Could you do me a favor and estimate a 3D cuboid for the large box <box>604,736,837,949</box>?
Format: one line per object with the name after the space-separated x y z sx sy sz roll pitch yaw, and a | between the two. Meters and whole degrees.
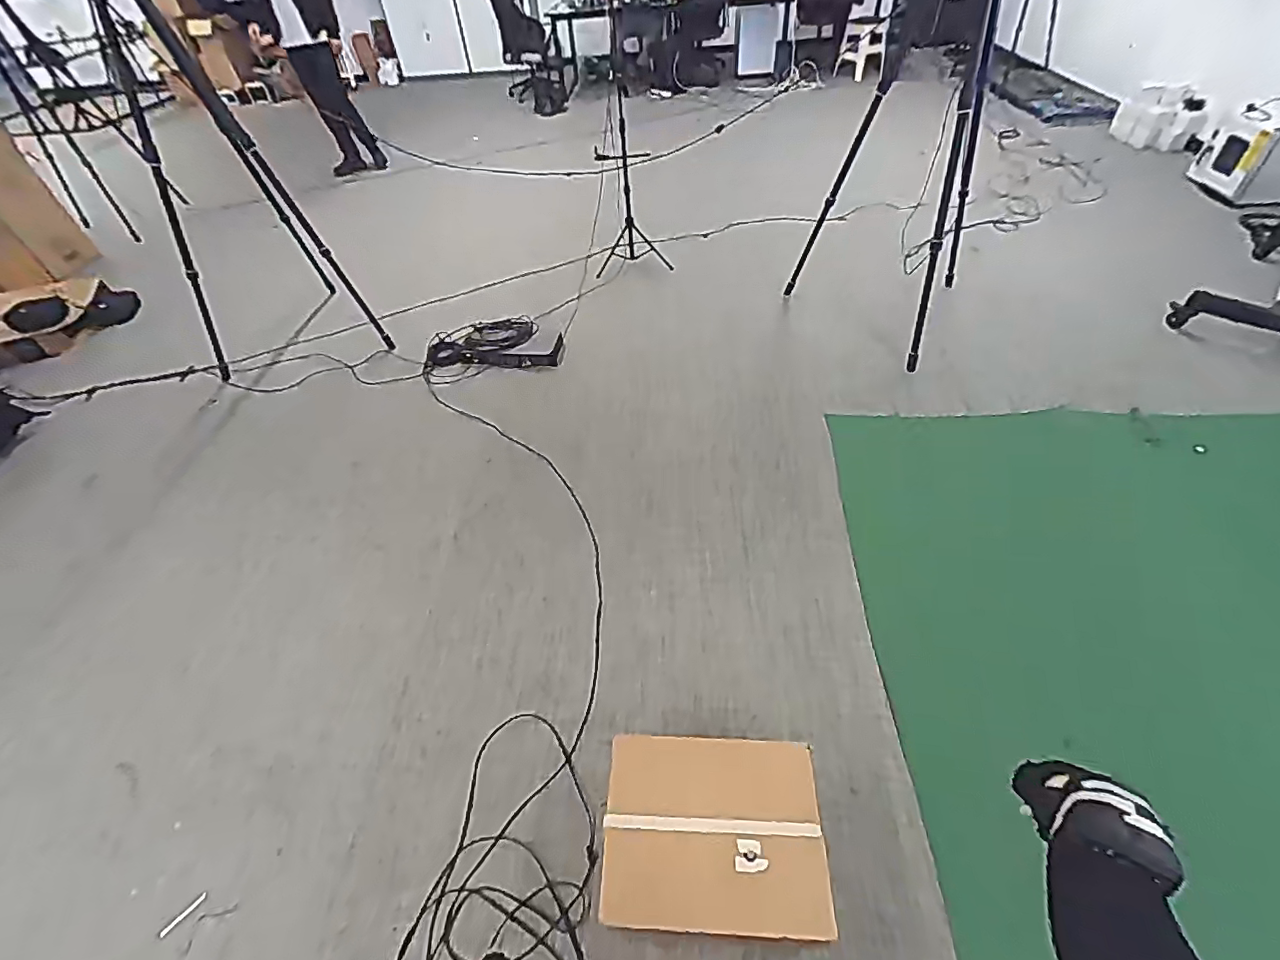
0.145 0.752 1.121 0.408 0.320 0.320 1 47 4 | large box
